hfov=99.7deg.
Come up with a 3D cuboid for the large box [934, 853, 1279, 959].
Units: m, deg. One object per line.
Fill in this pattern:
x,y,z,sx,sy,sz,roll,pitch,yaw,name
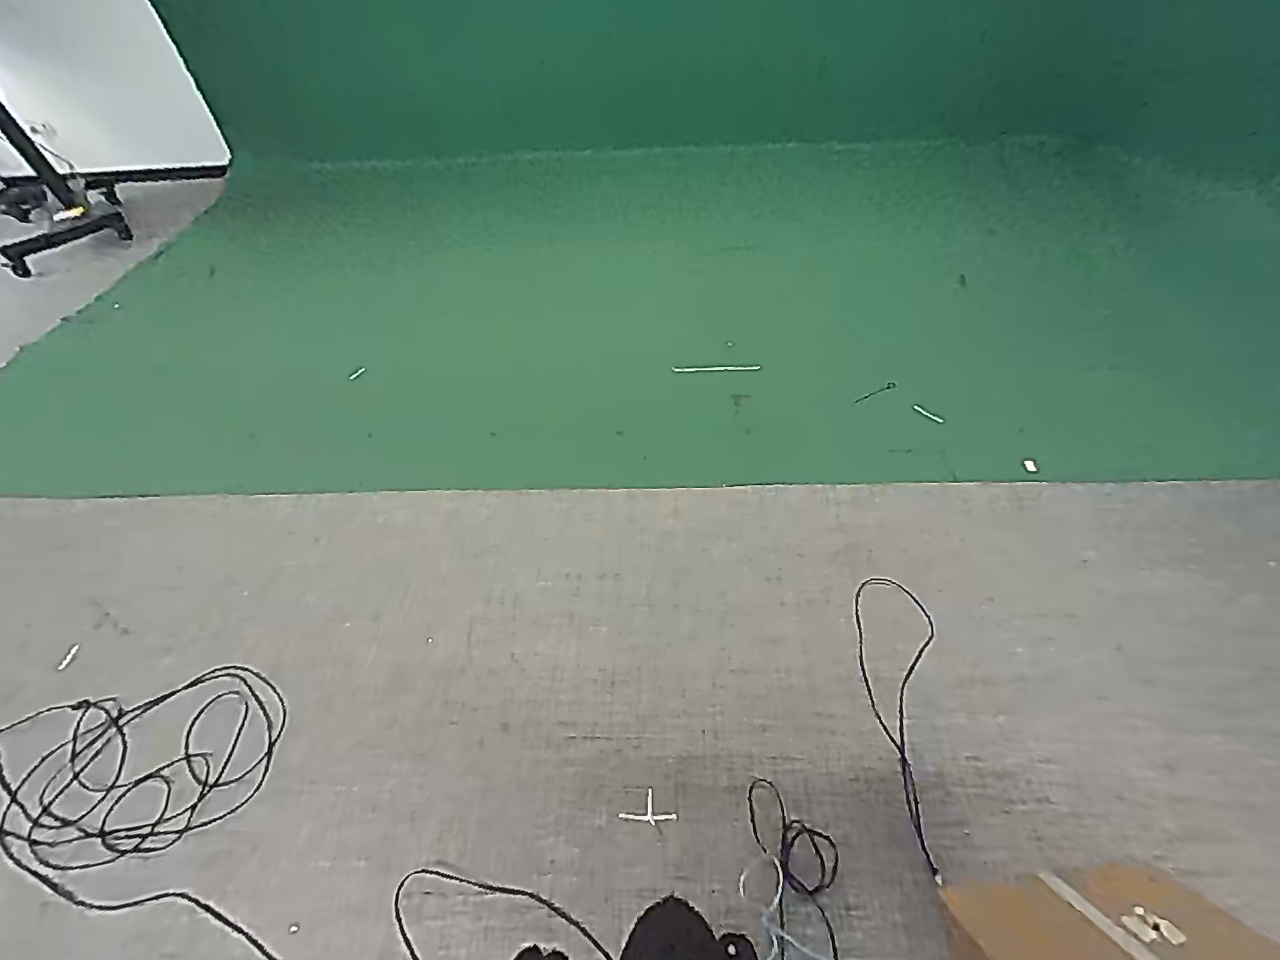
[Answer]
0.607,0.700,0.591,0.320,0.408,0.320,-8,82,1,large box
